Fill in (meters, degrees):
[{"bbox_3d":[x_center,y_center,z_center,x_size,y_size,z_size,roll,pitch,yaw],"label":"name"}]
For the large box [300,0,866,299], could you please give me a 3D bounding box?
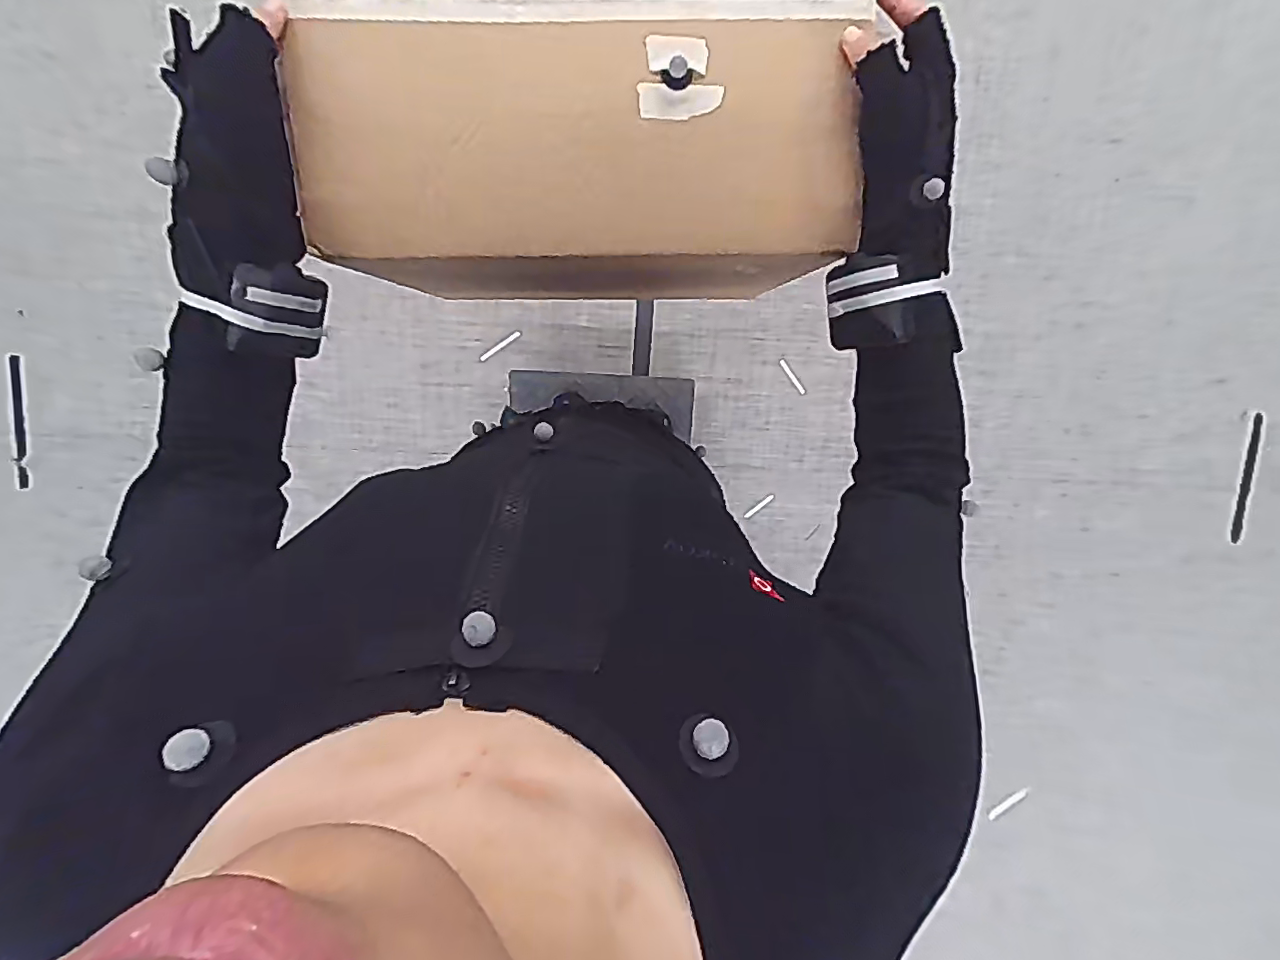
[{"bbox_3d":[-0.045,-0.358,0.524,0.408,0.320,0.320,-1,103,-2],"label":"large box"}]
